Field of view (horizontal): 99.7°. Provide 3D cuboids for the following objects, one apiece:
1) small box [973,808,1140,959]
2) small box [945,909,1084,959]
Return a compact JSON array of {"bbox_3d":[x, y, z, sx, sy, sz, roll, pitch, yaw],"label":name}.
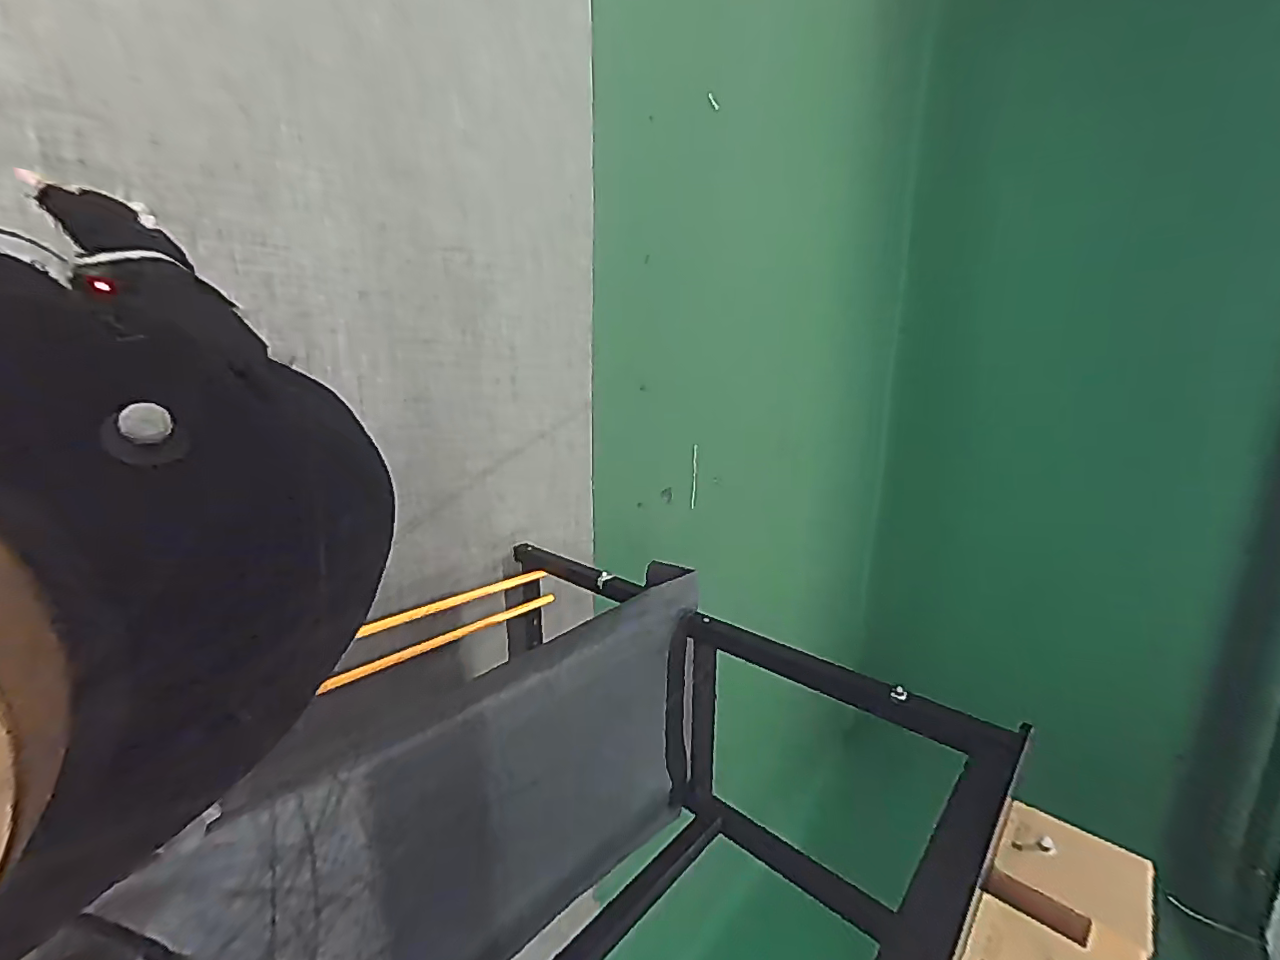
[{"bbox_3d":[0.589,0.628,0.779,0.168,0.176,0.179,-11,107,-46],"label":"small box"},{"bbox_3d":[0.435,0.646,0.616,0.168,0.176,0.179,-11,108,-47],"label":"small box"}]
